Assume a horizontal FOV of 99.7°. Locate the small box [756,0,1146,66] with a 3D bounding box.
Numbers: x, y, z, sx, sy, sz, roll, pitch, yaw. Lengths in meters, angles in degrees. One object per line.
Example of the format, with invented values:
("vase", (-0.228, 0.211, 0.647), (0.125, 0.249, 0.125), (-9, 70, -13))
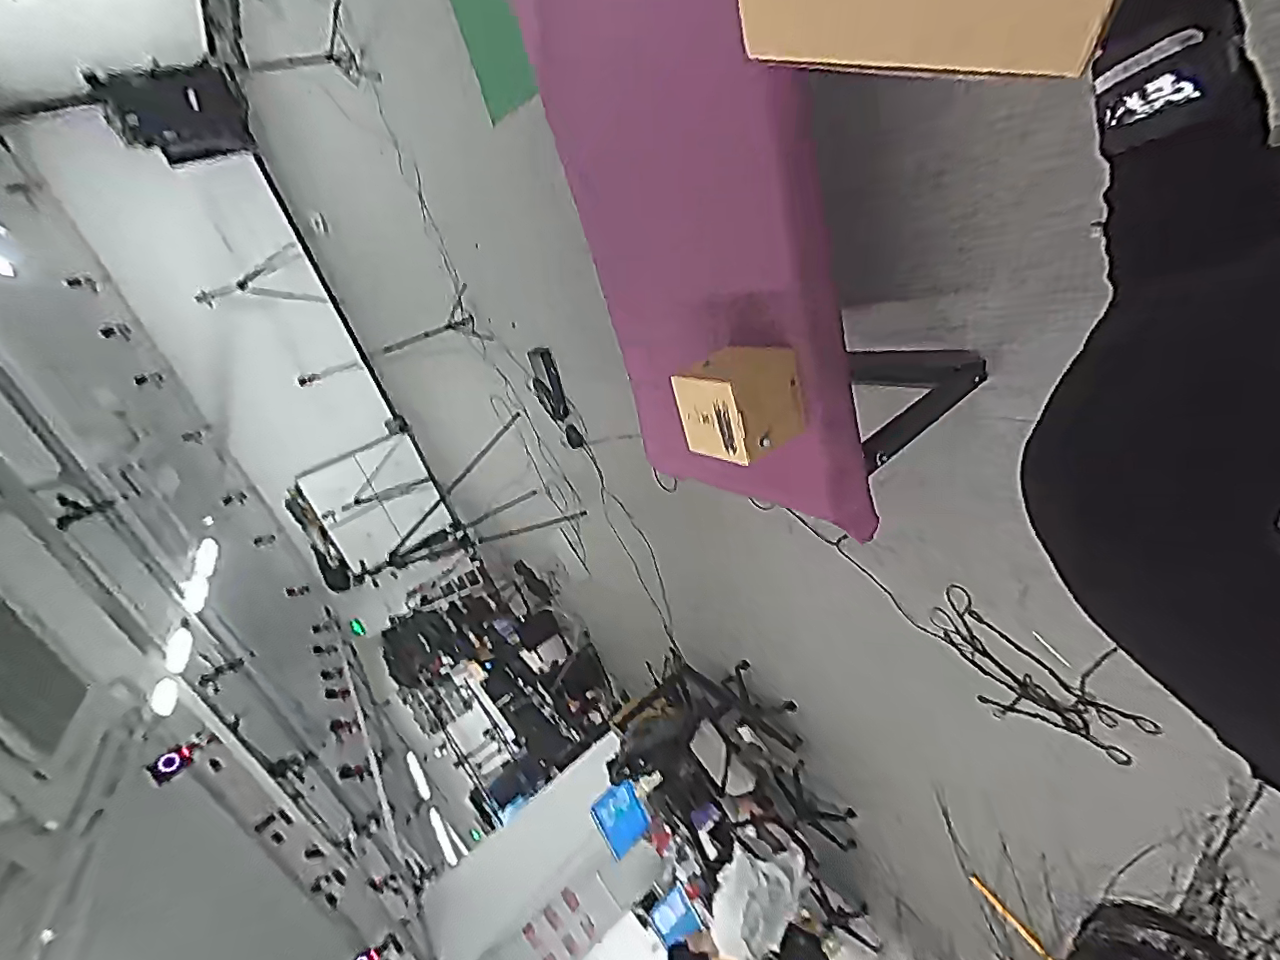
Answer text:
("small box", (0.154, -0.315, 0.217), (0.179, 0.168, 0.176), (26, 172, 26))
